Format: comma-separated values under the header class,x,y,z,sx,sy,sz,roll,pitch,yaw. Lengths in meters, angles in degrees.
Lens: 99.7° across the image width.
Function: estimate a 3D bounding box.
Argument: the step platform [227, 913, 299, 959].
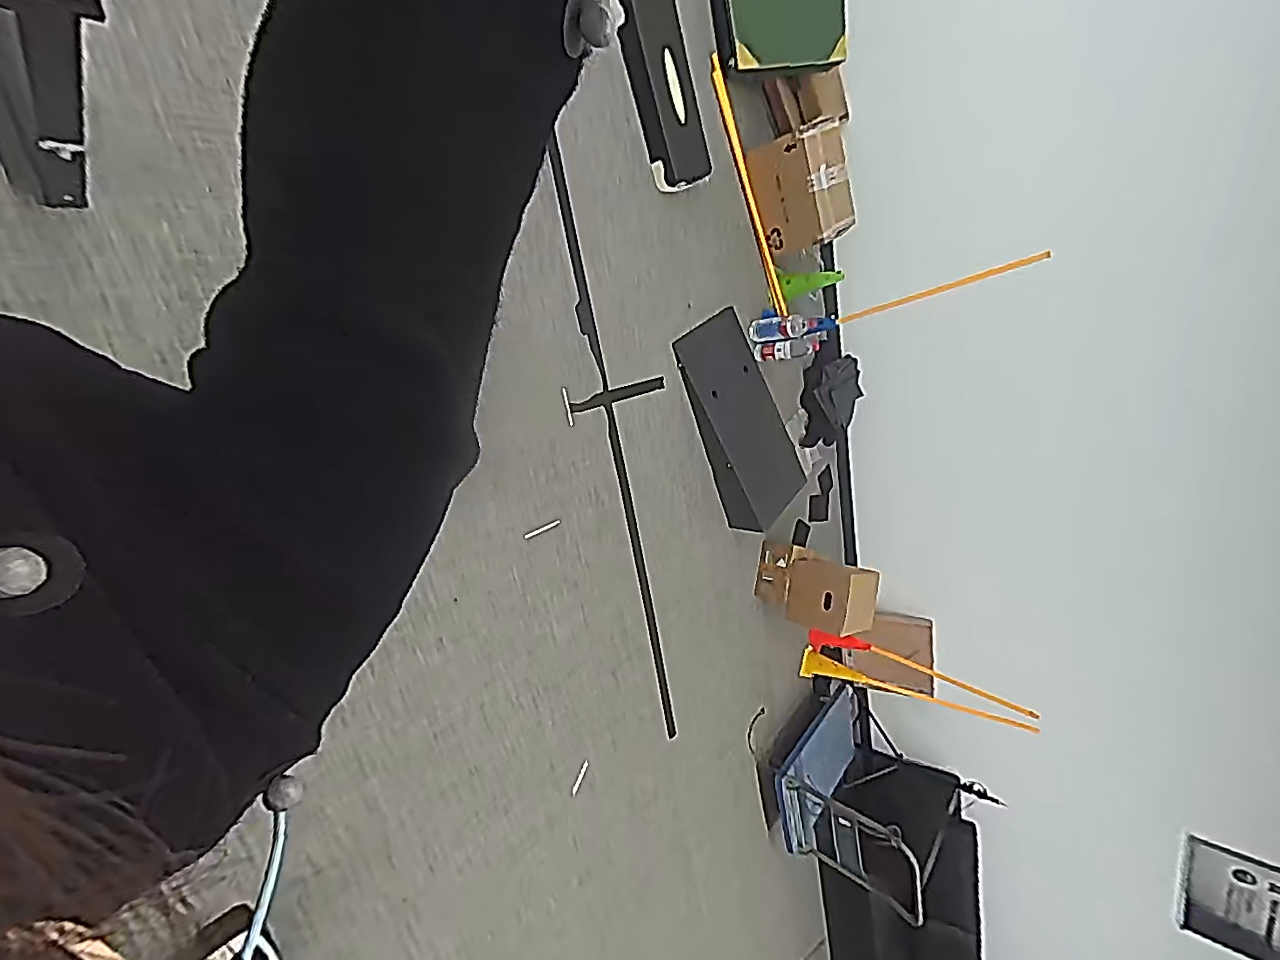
class,x,y,z,sx,sy,sz,roll,pitch,yaw
step platform,-1.058,1.265,1.079,0.684,0.204,0.286,-18,106,-45
